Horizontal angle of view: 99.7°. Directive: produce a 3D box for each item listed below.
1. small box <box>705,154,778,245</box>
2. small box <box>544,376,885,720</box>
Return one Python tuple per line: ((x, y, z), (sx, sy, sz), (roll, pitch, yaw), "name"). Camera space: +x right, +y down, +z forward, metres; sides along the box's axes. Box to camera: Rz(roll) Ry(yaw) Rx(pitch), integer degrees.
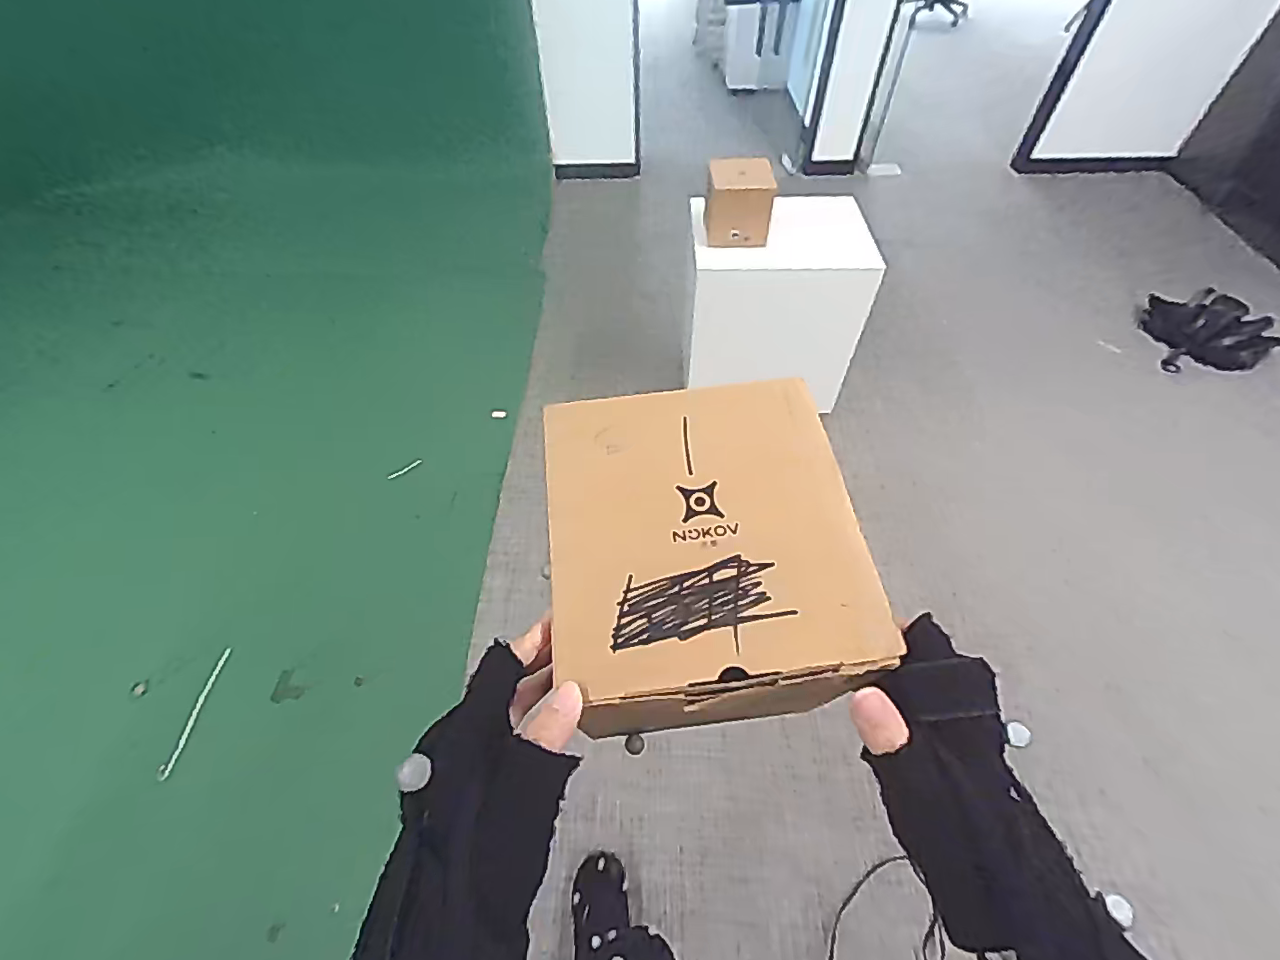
((0.273, -0.775, 1.496), (0.168, 0.176, 0.179), (-3, 55, 1), "small box")
((0.033, 0.058, 0.368), (0.168, 0.176, 0.179), (-7, 59, -1), "small box")
